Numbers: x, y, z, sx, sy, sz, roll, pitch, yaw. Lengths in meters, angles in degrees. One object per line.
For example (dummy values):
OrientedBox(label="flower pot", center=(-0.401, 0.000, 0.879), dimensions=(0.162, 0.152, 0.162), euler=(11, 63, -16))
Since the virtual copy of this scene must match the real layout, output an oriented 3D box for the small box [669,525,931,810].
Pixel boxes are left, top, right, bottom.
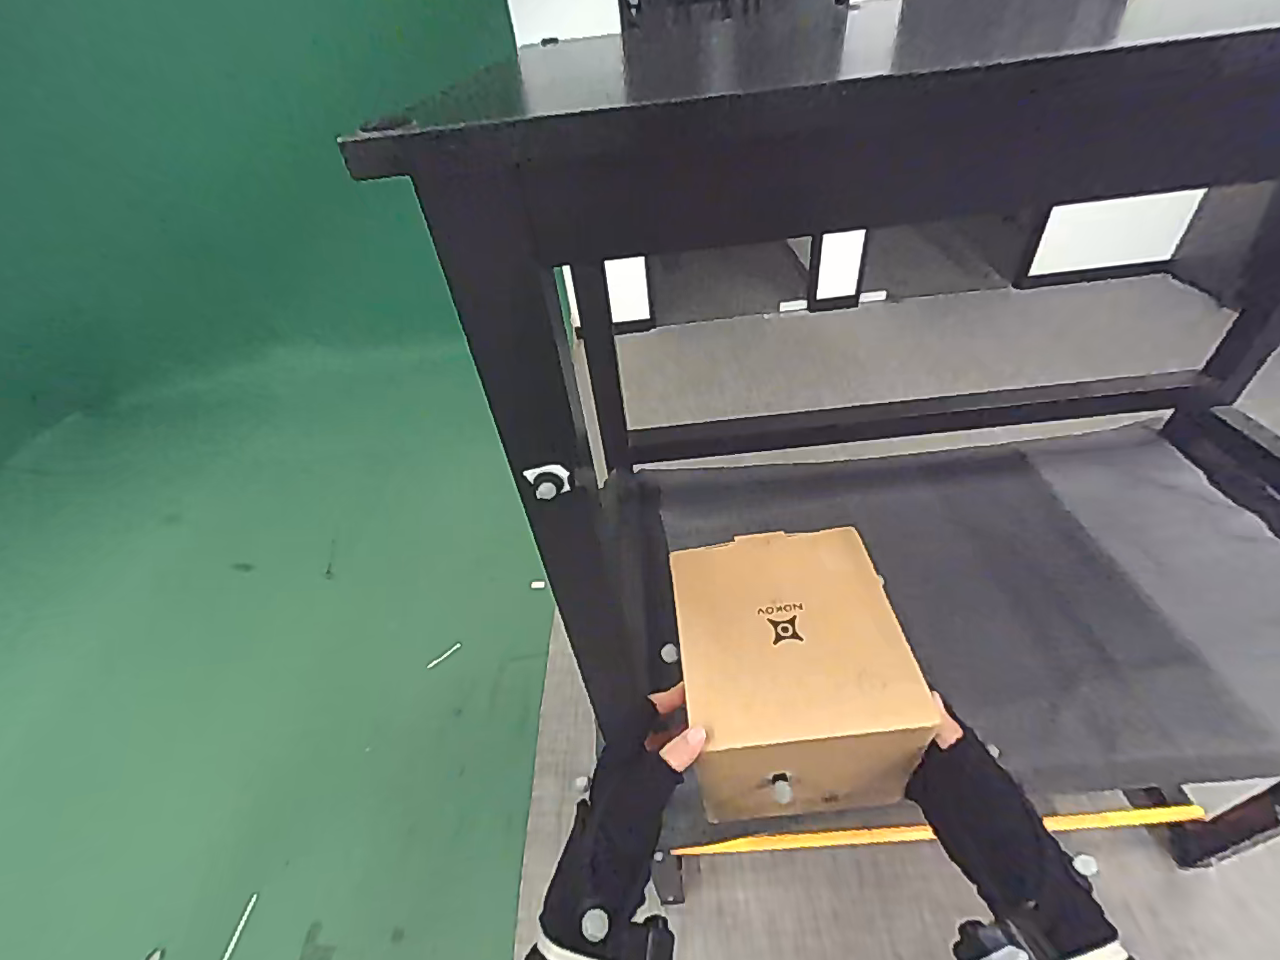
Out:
OrientedBox(label="small box", center=(0.121, 0.167, 0.470), dimensions=(0.168, 0.176, 0.179), euler=(-8, 42, 4))
